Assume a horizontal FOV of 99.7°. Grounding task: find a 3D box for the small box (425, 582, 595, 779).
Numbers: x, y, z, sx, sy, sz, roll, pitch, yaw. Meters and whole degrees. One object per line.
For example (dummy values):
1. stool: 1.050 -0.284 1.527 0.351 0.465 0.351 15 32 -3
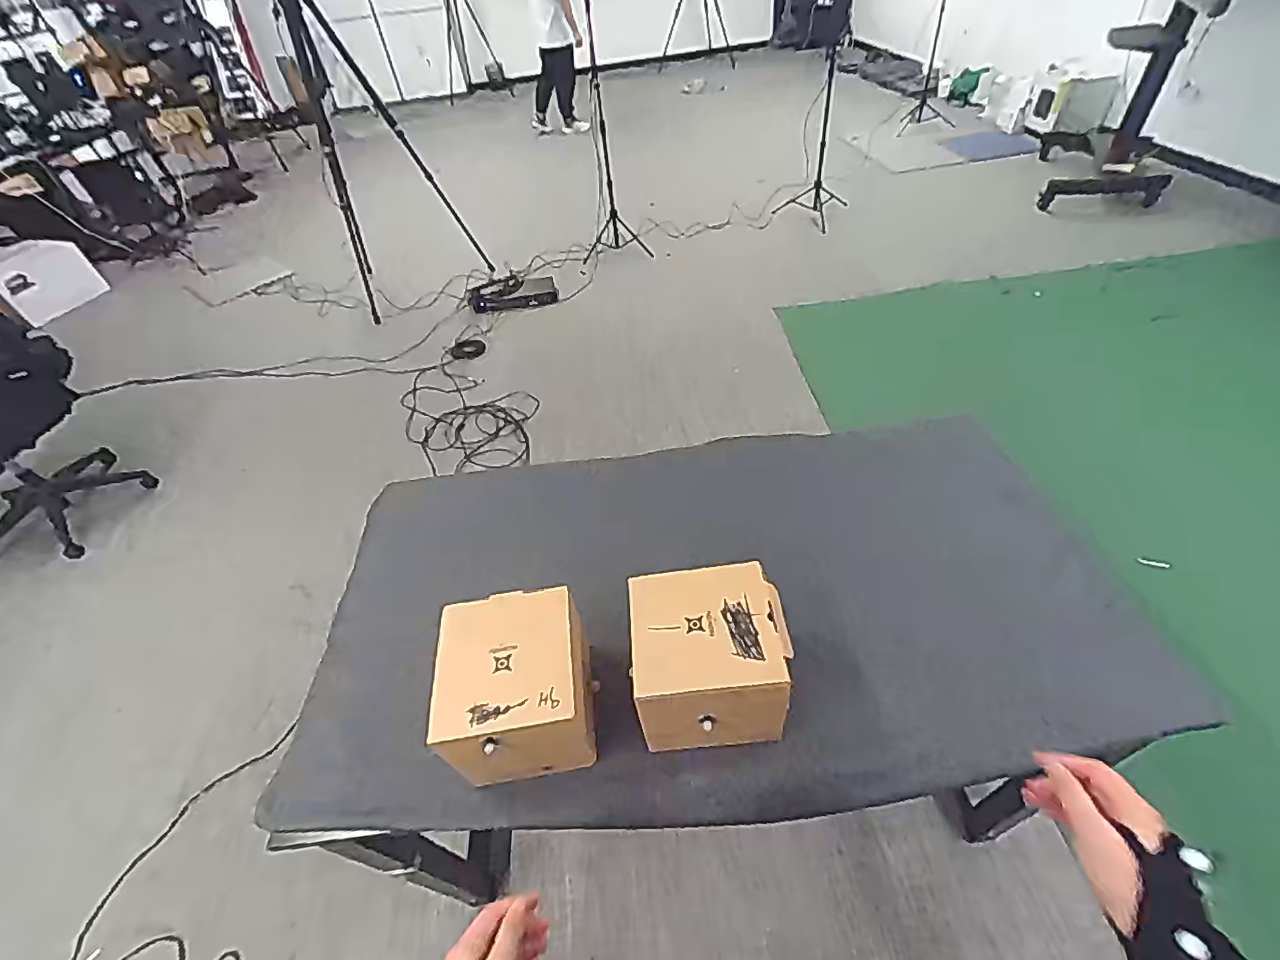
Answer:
1. small box: -0.156 0.262 0.706 0.168 0.176 0.179 -10 46 0
